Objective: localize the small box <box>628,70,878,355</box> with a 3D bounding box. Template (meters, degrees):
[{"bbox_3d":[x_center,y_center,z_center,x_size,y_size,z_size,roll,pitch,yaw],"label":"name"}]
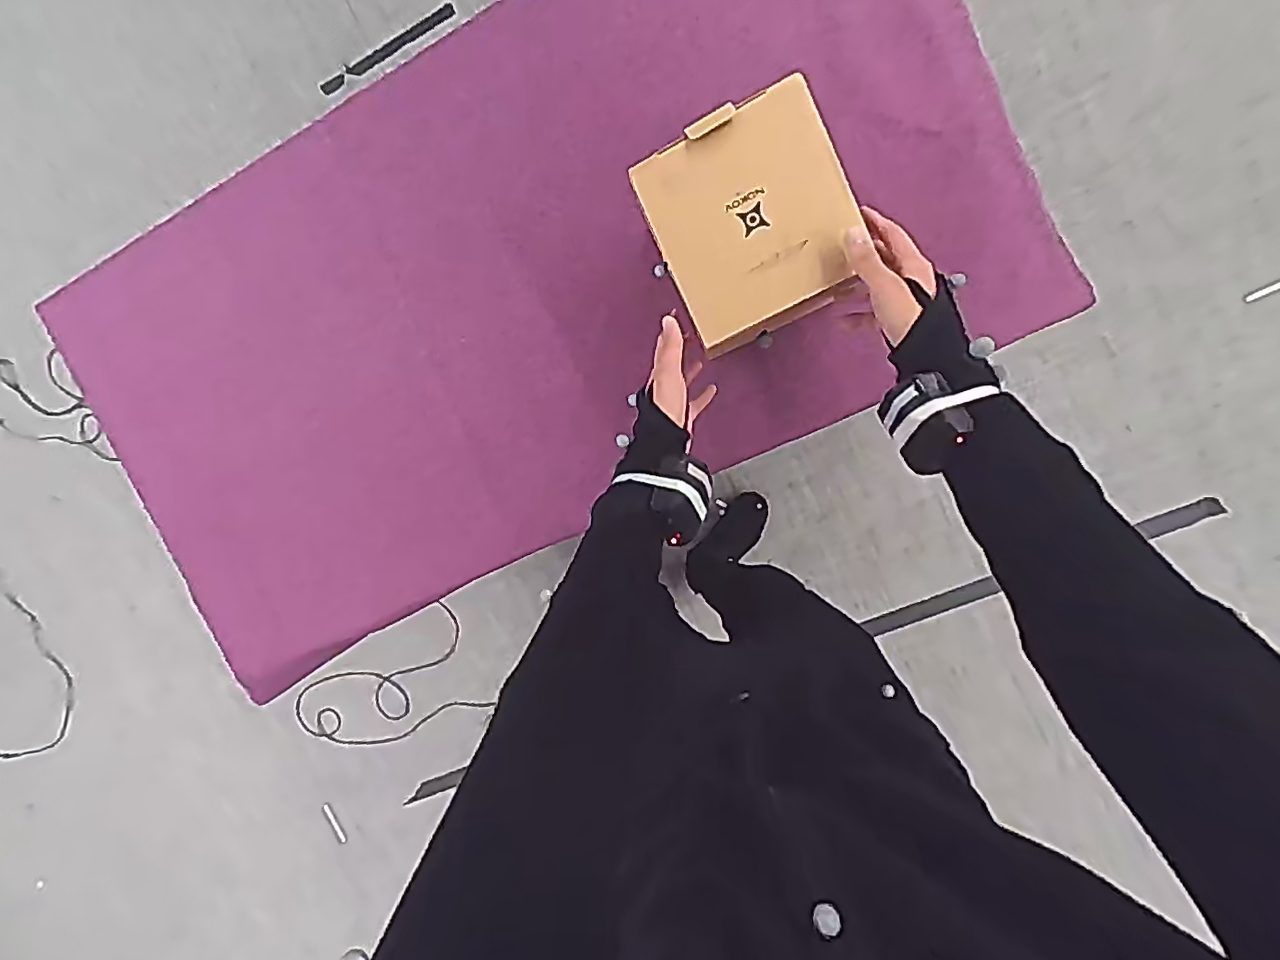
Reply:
[{"bbox_3d":[0.106,-0.242,0.543,0.168,0.176,0.179,-24,94,12],"label":"small box"}]
